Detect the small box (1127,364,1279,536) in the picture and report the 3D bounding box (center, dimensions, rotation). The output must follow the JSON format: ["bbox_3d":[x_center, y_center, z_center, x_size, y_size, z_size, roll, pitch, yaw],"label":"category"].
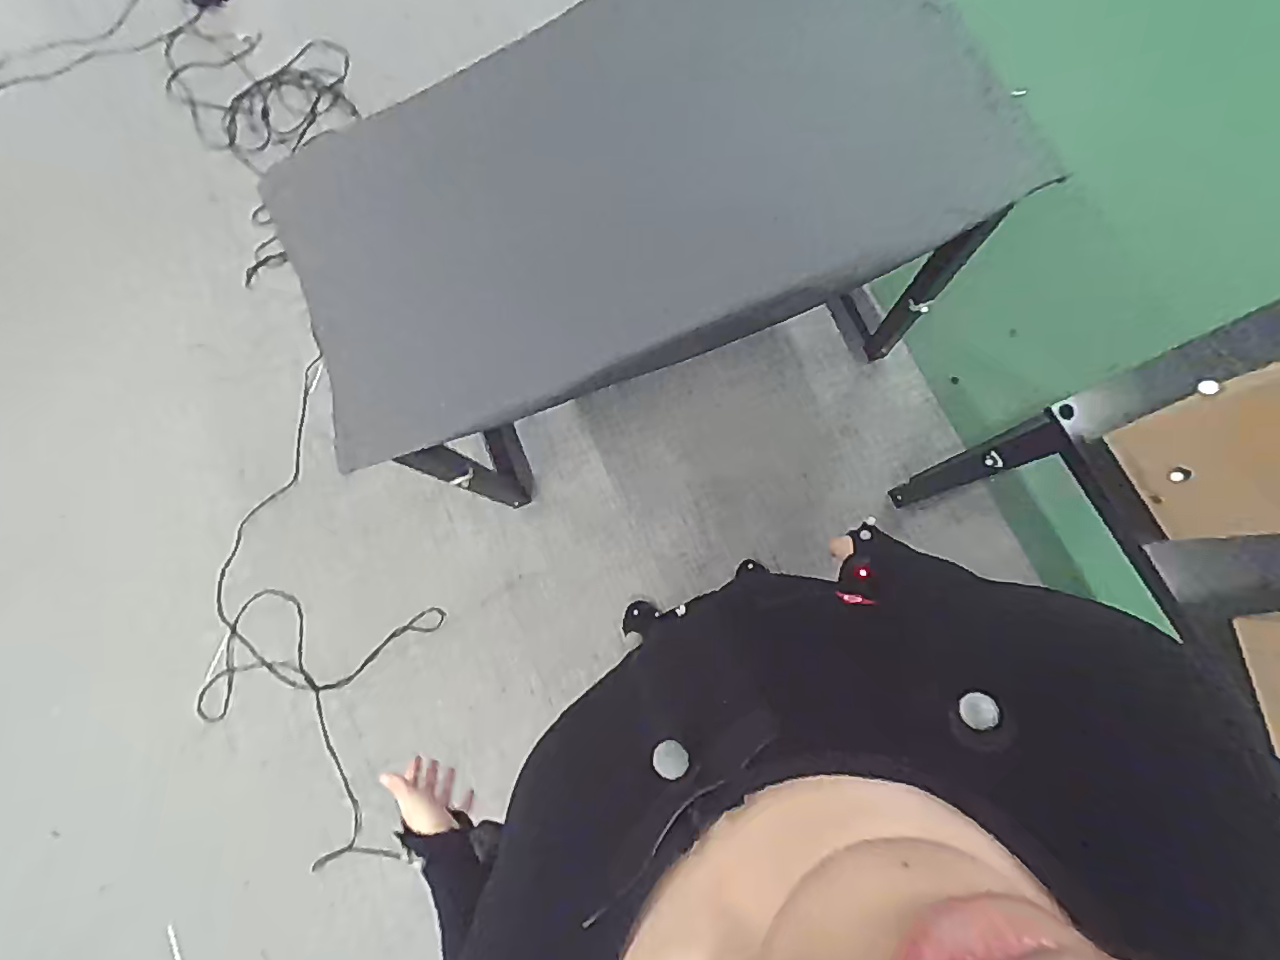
[{"bbox_3d":[0.761,-0.040,0.660,0.179,0.176,0.168,-24,79,1],"label":"small box"}]
